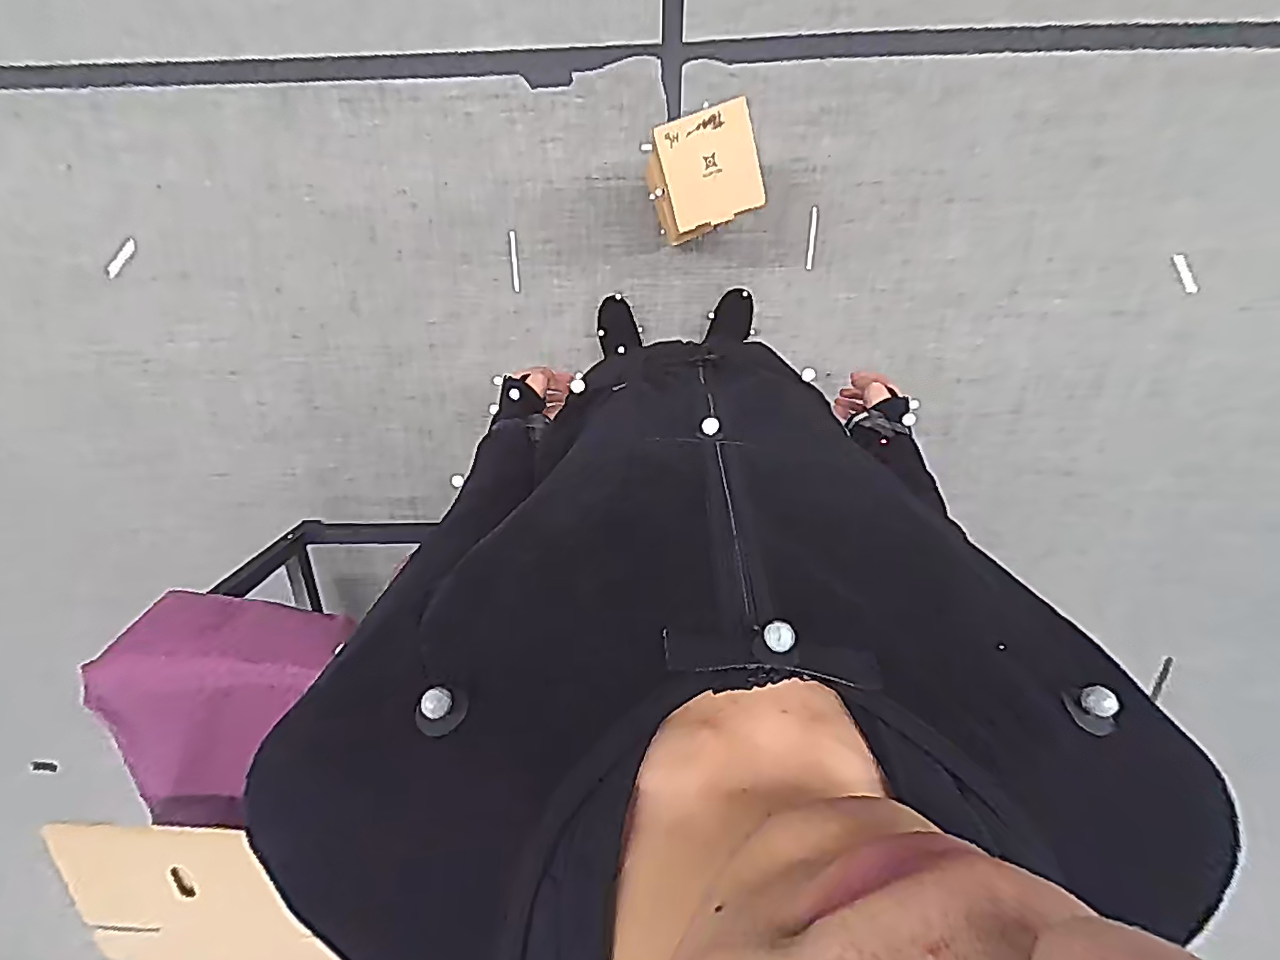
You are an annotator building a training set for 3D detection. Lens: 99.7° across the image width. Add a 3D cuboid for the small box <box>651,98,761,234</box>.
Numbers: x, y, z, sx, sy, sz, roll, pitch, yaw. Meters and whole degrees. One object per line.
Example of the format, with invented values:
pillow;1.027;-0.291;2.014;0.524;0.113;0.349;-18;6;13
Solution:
small box;0.121;-0.584;1.030;0.168;0.176;0.179;-15;112;7
